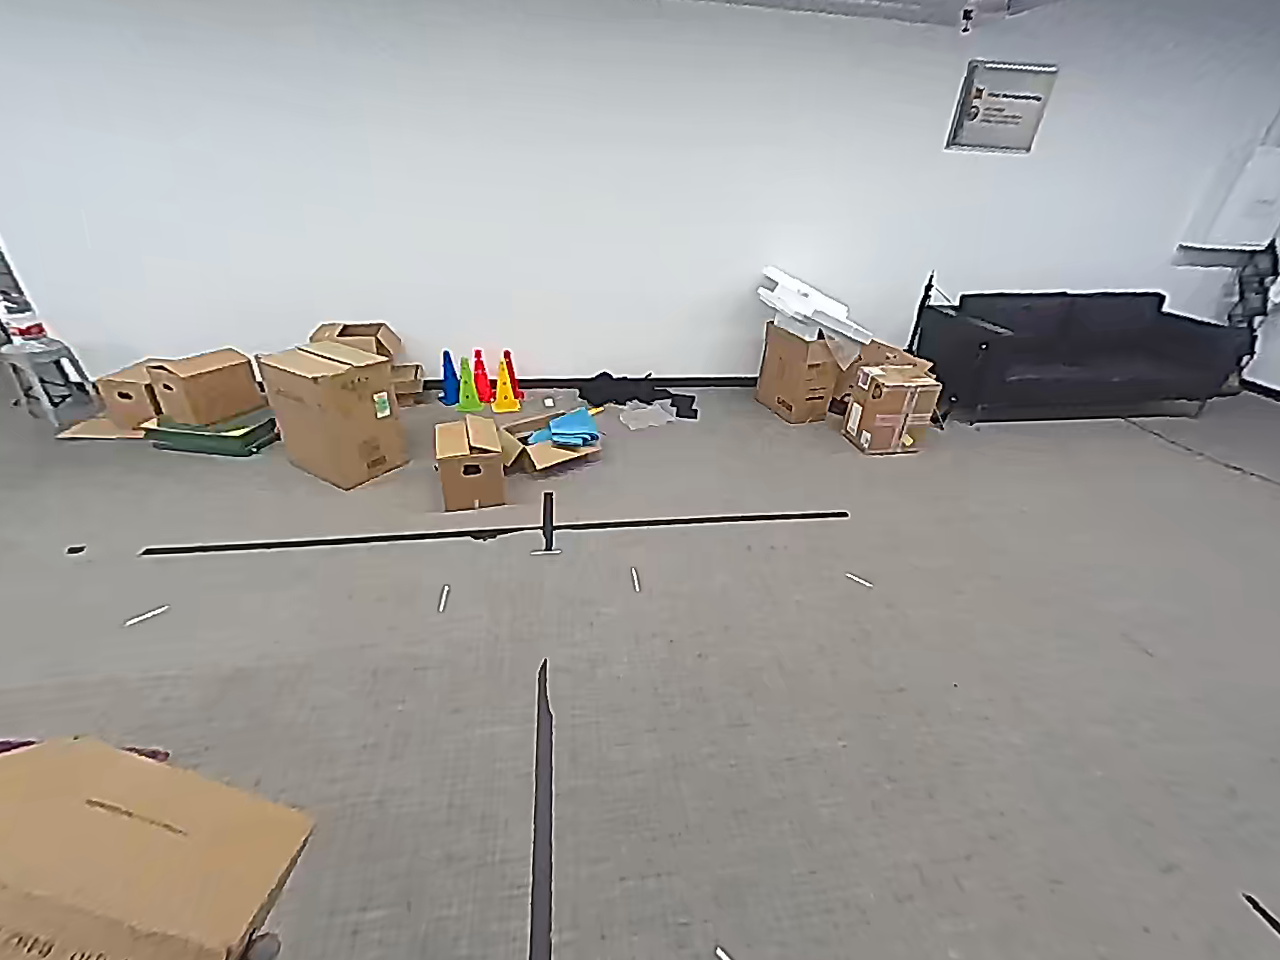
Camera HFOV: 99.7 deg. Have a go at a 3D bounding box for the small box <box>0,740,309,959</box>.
[{"bbox_3d":[-0.296,0.242,0.253,0.168,0.179,0.176,28,67,-10],"label":"small box"}]
